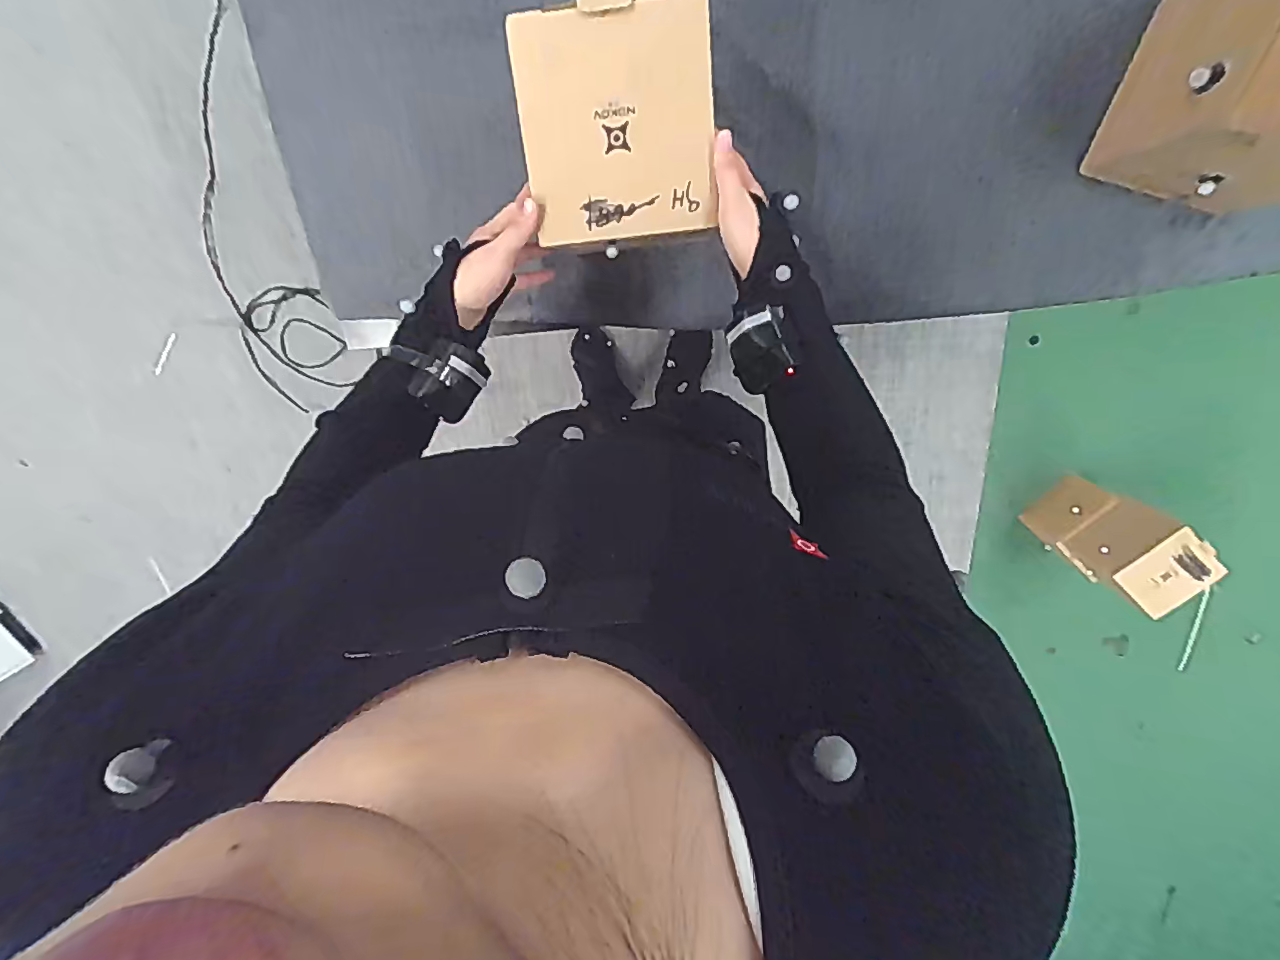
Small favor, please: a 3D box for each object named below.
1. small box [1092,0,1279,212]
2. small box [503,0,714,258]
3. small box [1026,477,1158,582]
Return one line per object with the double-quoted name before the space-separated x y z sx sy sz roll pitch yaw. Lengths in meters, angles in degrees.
"small box" 0.558 -0.353 0.472 0.168 0.176 0.179 15 109 -2
"small box" -0.020 -0.321 0.530 0.168 0.176 0.179 -4 111 5
"small box" 1.153 0.122 1.402 0.168 0.176 0.179 40 108 -11
